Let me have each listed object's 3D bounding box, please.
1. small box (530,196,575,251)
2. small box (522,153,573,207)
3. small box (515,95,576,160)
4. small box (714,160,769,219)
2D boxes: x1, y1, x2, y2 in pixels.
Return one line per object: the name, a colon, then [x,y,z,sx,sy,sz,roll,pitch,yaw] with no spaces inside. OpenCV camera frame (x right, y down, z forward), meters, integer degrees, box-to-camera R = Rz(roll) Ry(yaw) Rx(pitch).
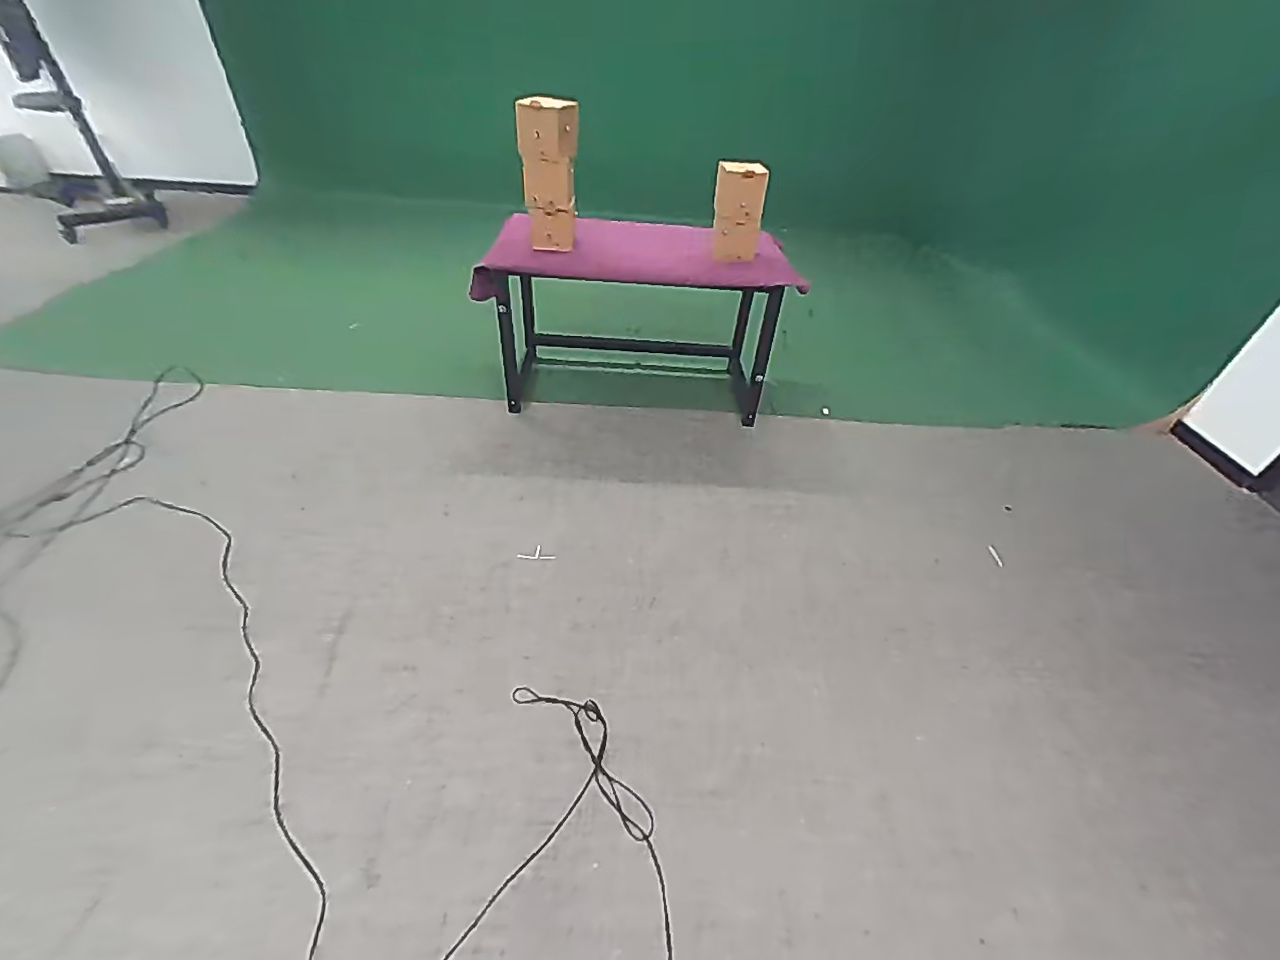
small box: [-0.356,-1.063,2.222,0.168,0.176,0.179,2,42,-4]
small box: [-0.353,-1.175,2.101,0.168,0.176,0.179,6,41,-1]
small box: [-0.341,-1.299,1.994,0.168,0.176,0.179,18,45,12]
small box: [0.396,-1.152,2.142,0.168,0.176,0.179,0,41,-4]
